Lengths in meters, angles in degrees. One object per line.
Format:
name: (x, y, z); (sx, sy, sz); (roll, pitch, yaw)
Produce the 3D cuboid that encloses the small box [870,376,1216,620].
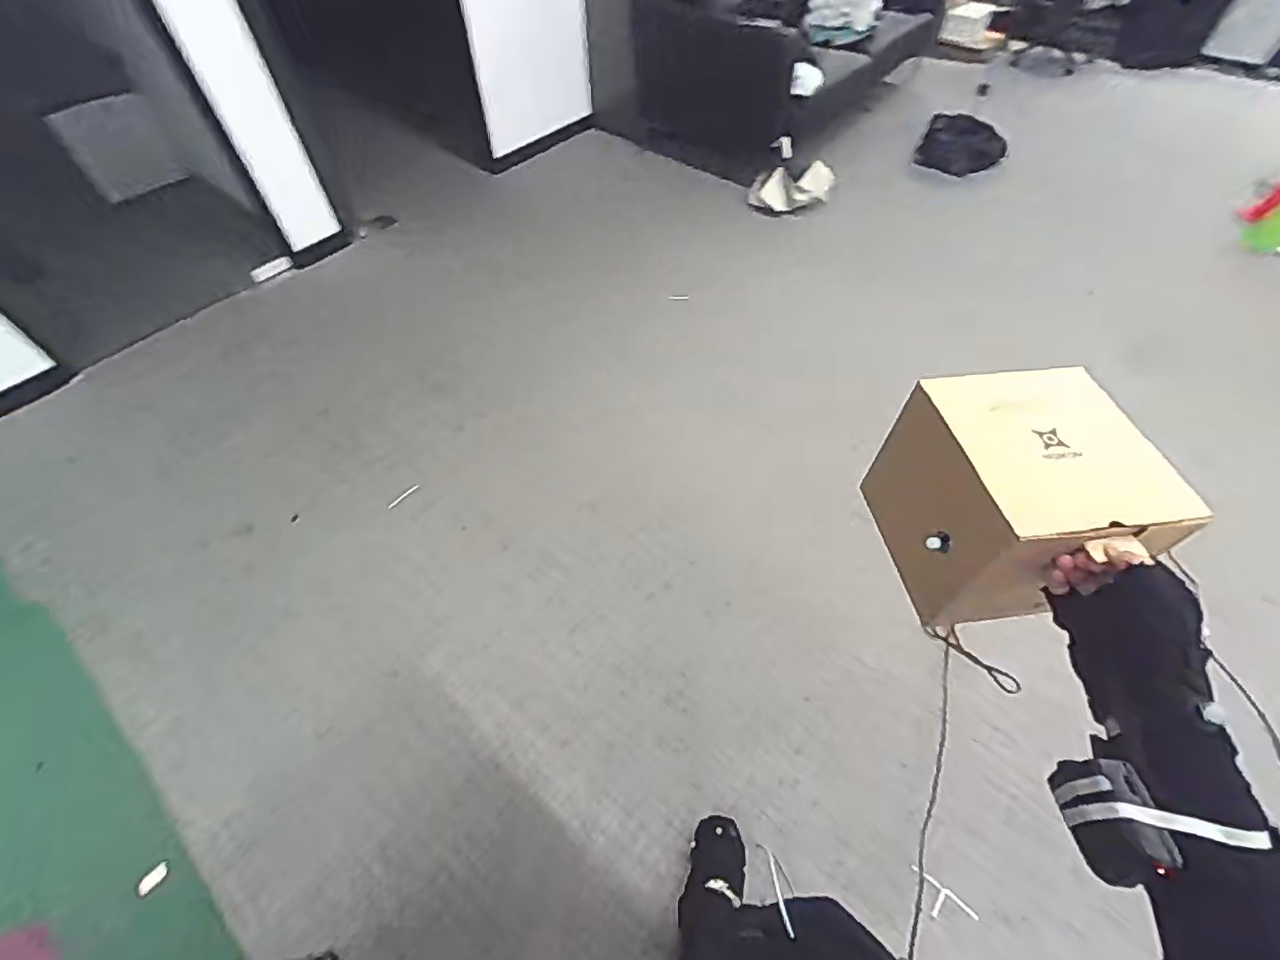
small box: (0.351, 0.024, 0.519); (0.168, 0.176, 0.179); (-4, 54, -4)
